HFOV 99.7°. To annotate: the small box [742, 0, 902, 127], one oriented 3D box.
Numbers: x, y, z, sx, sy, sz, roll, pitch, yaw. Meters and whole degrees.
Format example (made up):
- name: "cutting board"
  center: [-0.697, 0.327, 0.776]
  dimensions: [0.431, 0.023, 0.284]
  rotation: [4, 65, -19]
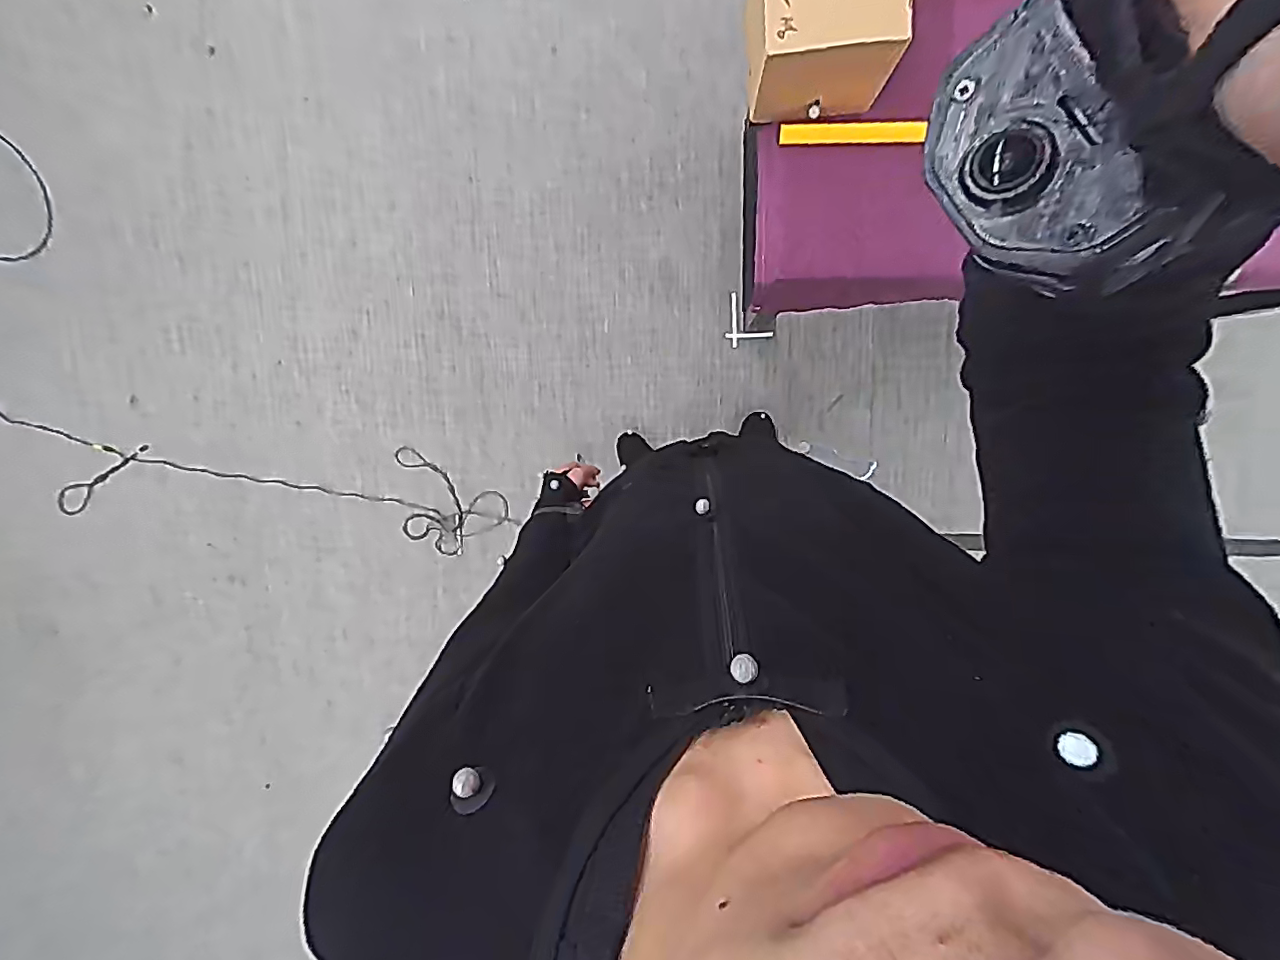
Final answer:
- name: "small box"
  center: [0.238, -0.616, 0.742]
  dimensions: [0.179, 0.176, 0.168]
  rotation: [-2, 98, 5]
